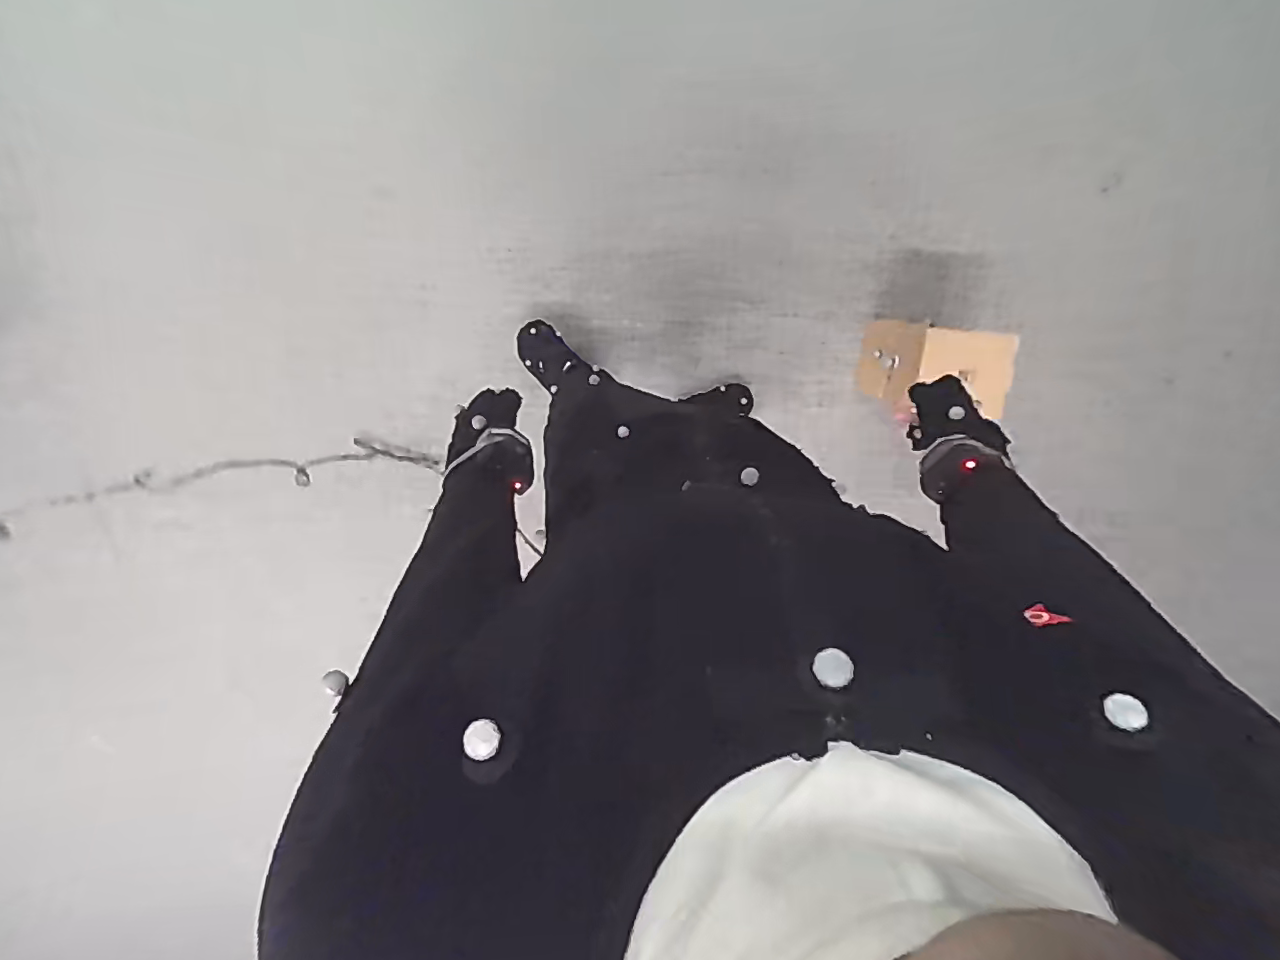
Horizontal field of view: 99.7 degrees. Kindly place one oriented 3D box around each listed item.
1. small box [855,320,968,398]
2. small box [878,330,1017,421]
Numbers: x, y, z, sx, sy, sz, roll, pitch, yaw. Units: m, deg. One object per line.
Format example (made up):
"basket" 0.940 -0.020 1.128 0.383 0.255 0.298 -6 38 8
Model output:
"small box" 0.627 -0.277 1.272 0.168 0.176 0.179 6 106 1
"small box" 0.624 -0.221 1.120 0.179 0.176 0.168 5 104 2
